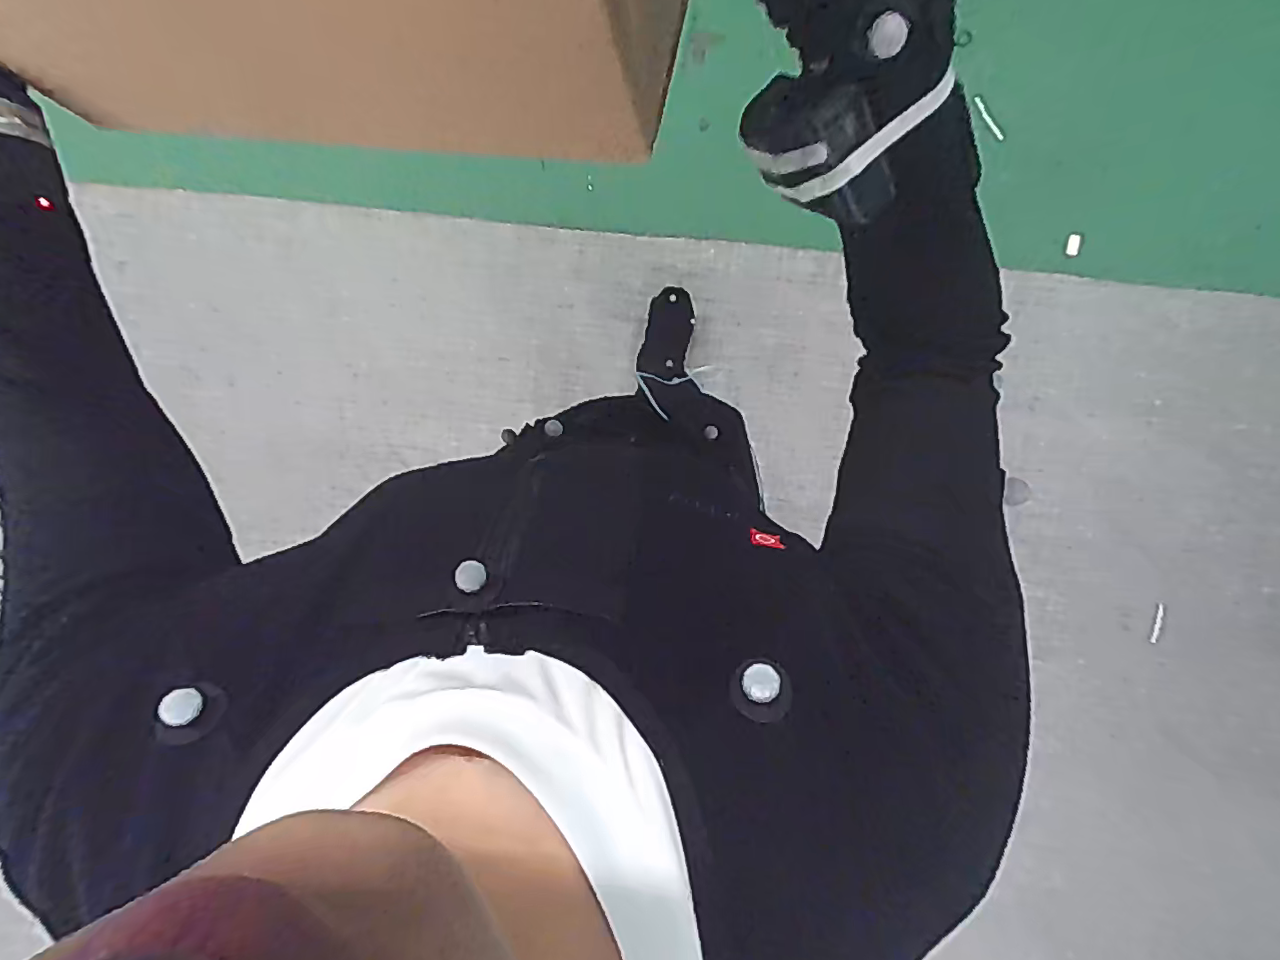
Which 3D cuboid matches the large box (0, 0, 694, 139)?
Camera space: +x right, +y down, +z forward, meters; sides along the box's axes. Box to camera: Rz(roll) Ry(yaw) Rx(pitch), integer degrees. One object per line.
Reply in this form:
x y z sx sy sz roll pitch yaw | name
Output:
-0.175 -0.378 0.199 0.408 0.320 0.320 11 88 12 | large box
